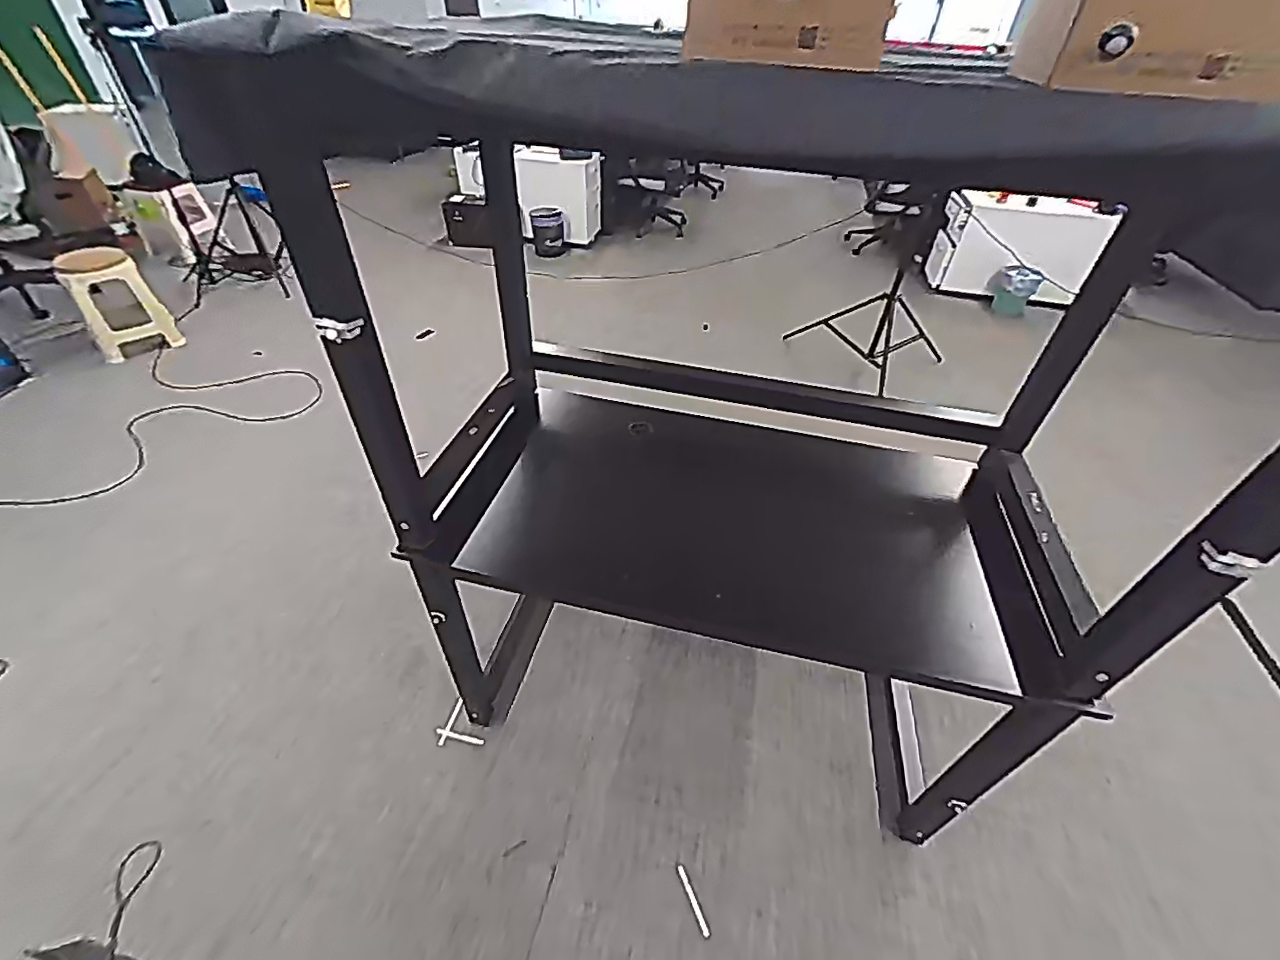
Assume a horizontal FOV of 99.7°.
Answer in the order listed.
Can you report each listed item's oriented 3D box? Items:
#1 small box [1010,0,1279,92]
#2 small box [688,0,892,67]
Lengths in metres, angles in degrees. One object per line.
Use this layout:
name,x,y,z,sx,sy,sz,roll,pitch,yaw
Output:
small box,0.433,-0.418,0.428,0.168,0.176,0.179,13,41,12
small box,0.141,-0.471,0.467,0.168,0.176,0.179,11,40,10
